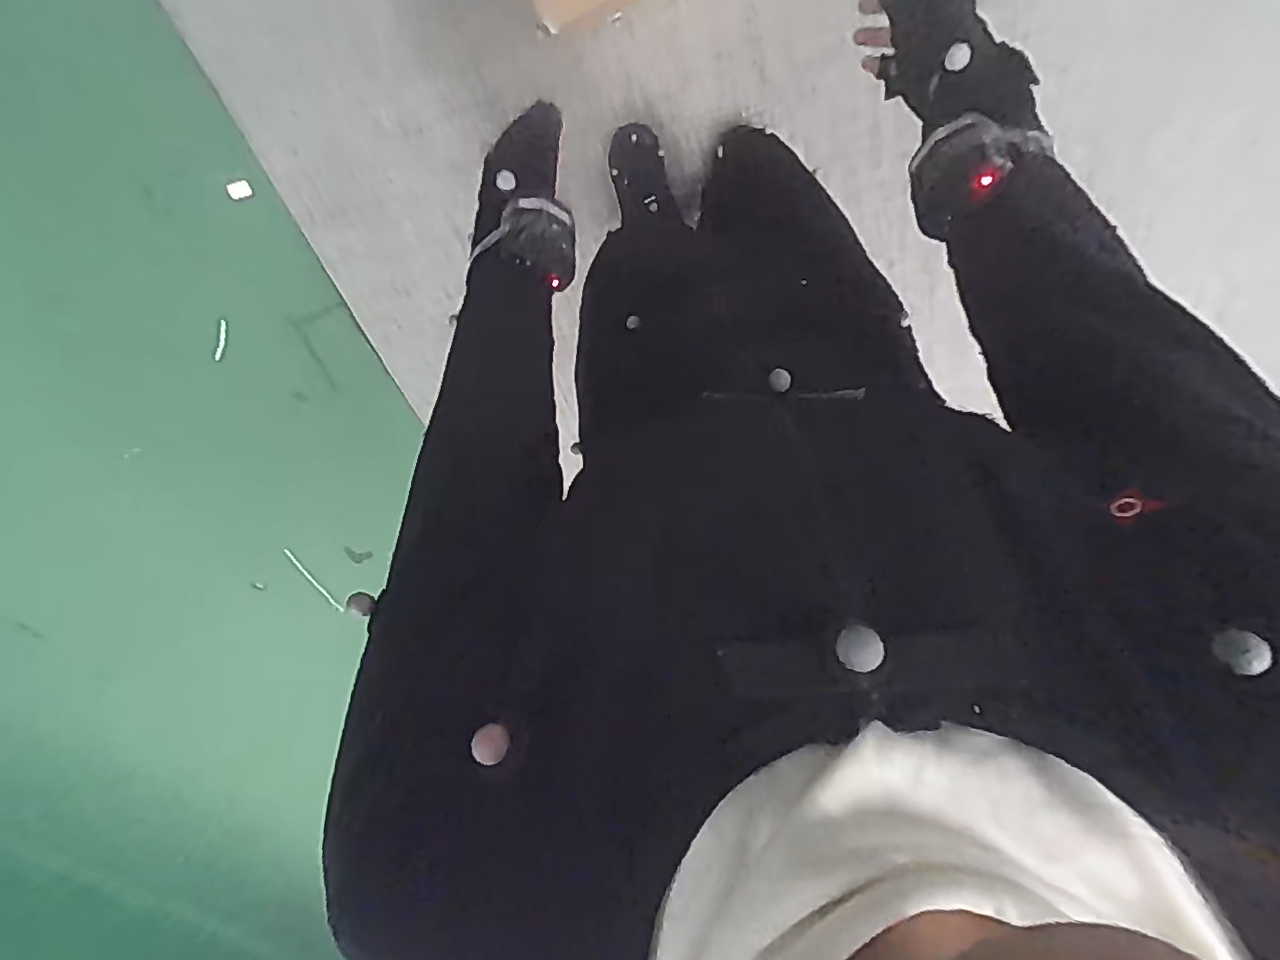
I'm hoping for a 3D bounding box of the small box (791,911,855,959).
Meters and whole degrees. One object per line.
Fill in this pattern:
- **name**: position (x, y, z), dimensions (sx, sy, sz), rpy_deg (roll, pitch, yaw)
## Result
- **small box**: position (0.588, 1.512, 1.725), dimensions (0.179, 0.176, 0.168), rpy_deg (-15, 125, 8)
